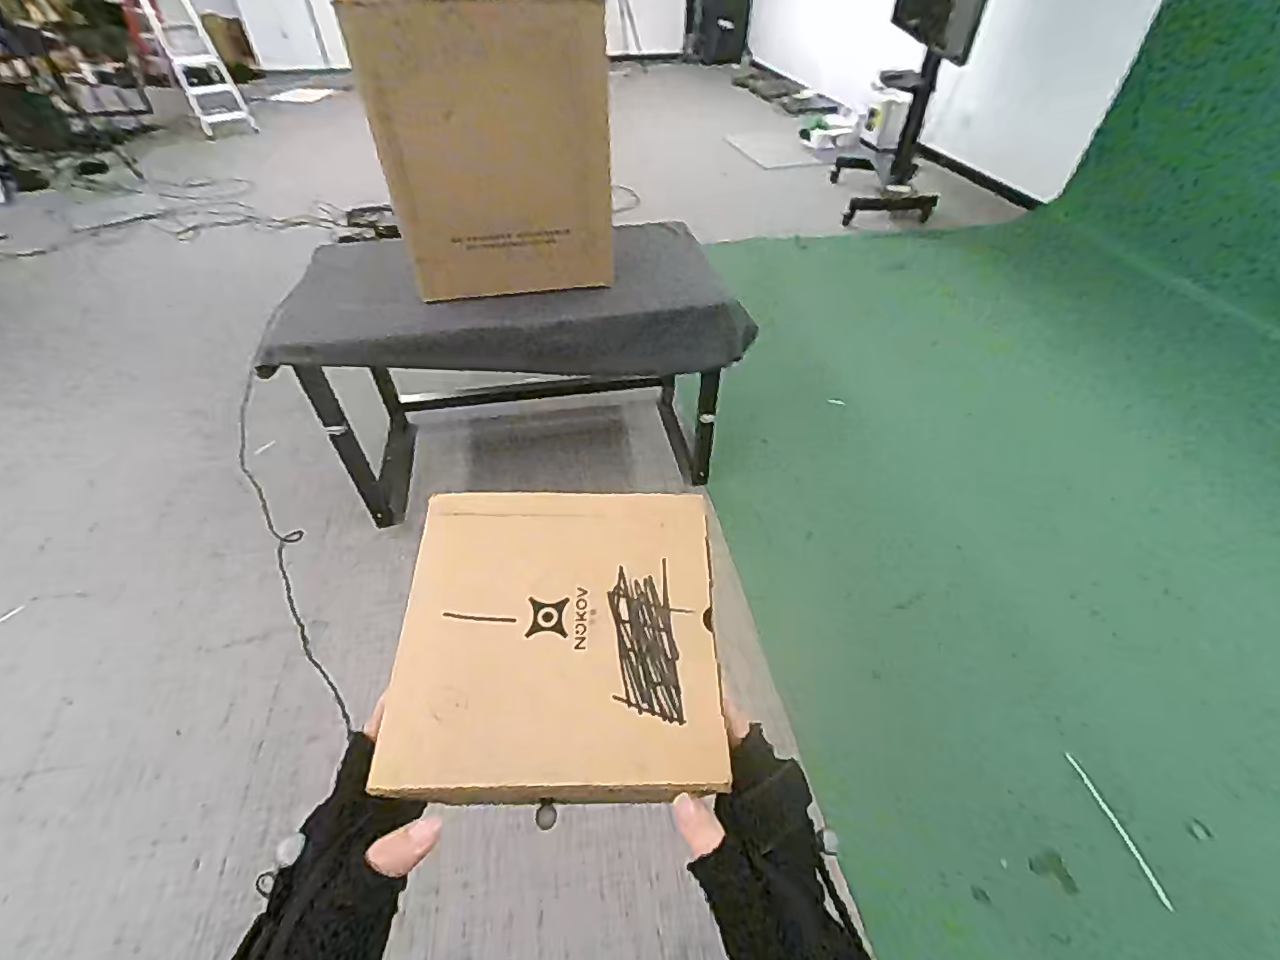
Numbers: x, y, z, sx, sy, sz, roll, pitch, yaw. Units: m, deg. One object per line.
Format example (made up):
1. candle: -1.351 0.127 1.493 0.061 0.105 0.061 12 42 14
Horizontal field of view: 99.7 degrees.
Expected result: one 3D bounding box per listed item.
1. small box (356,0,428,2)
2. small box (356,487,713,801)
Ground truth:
1. small box: -0.500 -1.056 1.057 0.168 0.176 0.179 -8 48 -8
2. small box: -0.054 0.120 0.372 0.179 0.176 0.168 1 57 -2
